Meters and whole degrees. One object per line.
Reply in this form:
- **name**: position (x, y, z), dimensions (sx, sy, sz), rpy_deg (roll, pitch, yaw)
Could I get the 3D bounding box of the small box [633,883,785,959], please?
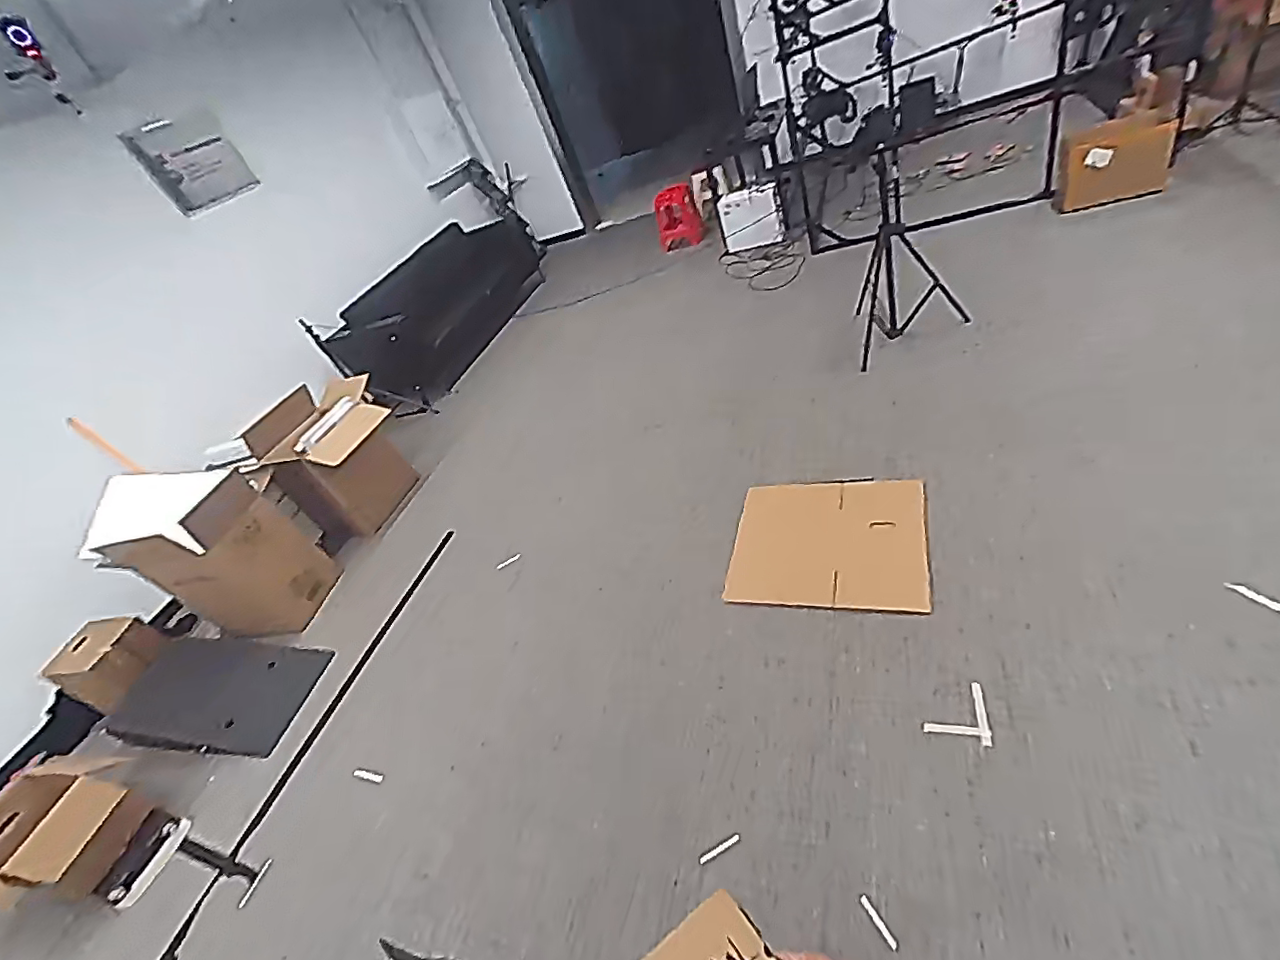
- **small box**: position (0.089, 0.571, 0.532), dimensions (0.179, 0.176, 0.168), rpy_deg (-29, 19, -20)
